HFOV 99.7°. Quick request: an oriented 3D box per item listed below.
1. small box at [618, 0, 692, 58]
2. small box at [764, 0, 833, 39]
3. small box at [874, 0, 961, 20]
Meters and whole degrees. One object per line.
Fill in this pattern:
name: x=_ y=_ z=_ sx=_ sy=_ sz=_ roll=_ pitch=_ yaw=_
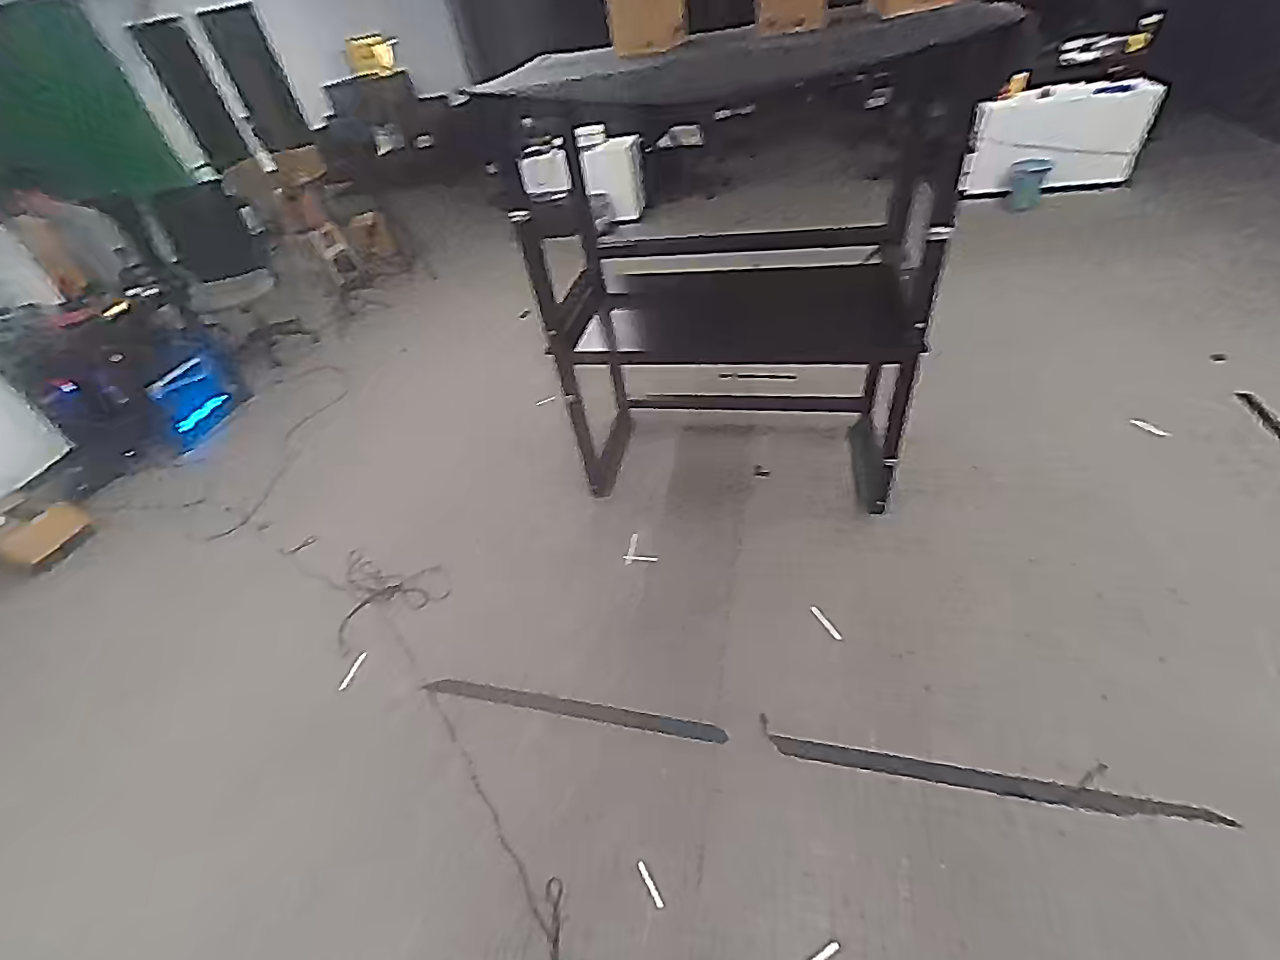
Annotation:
small box: x=0.044 y=-1.281 z=1.485 sx=0.168 sy=0.176 sz=0.179 roll=7 pitch=45 yaw=18
small box: x=0.401 y=-1.239 z=1.369 sx=0.168 sy=0.176 sz=0.179 roll=2 pitch=43 yaw=13
small box: x=0.682 y=-1.241 z=1.311 sx=0.168 sy=0.176 sz=0.179 roll=-5 pitch=45 yaw=7
